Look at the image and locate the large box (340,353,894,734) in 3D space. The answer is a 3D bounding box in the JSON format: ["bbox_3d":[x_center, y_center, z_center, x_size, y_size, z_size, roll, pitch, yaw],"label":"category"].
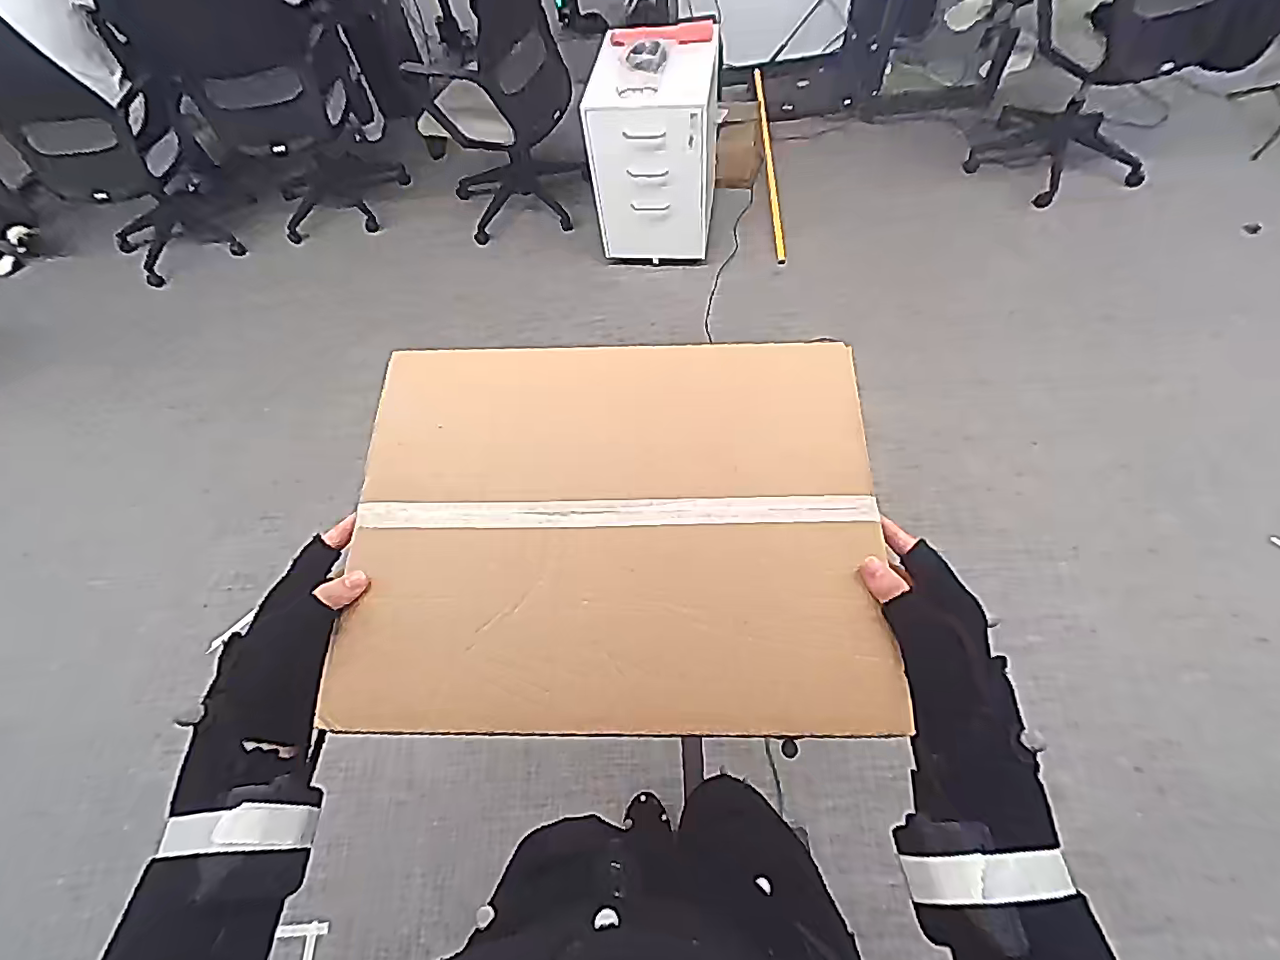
[{"bbox_3d":[-0.013,0.087,0.574,0.408,0.320,0.320,-1,67,3],"label":"large box"}]

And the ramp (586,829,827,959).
[{"bbox_3d":[0.132,1.181,0.908,0.509,0.206,0.991,-6,59,4],"label":"ramp"}]
